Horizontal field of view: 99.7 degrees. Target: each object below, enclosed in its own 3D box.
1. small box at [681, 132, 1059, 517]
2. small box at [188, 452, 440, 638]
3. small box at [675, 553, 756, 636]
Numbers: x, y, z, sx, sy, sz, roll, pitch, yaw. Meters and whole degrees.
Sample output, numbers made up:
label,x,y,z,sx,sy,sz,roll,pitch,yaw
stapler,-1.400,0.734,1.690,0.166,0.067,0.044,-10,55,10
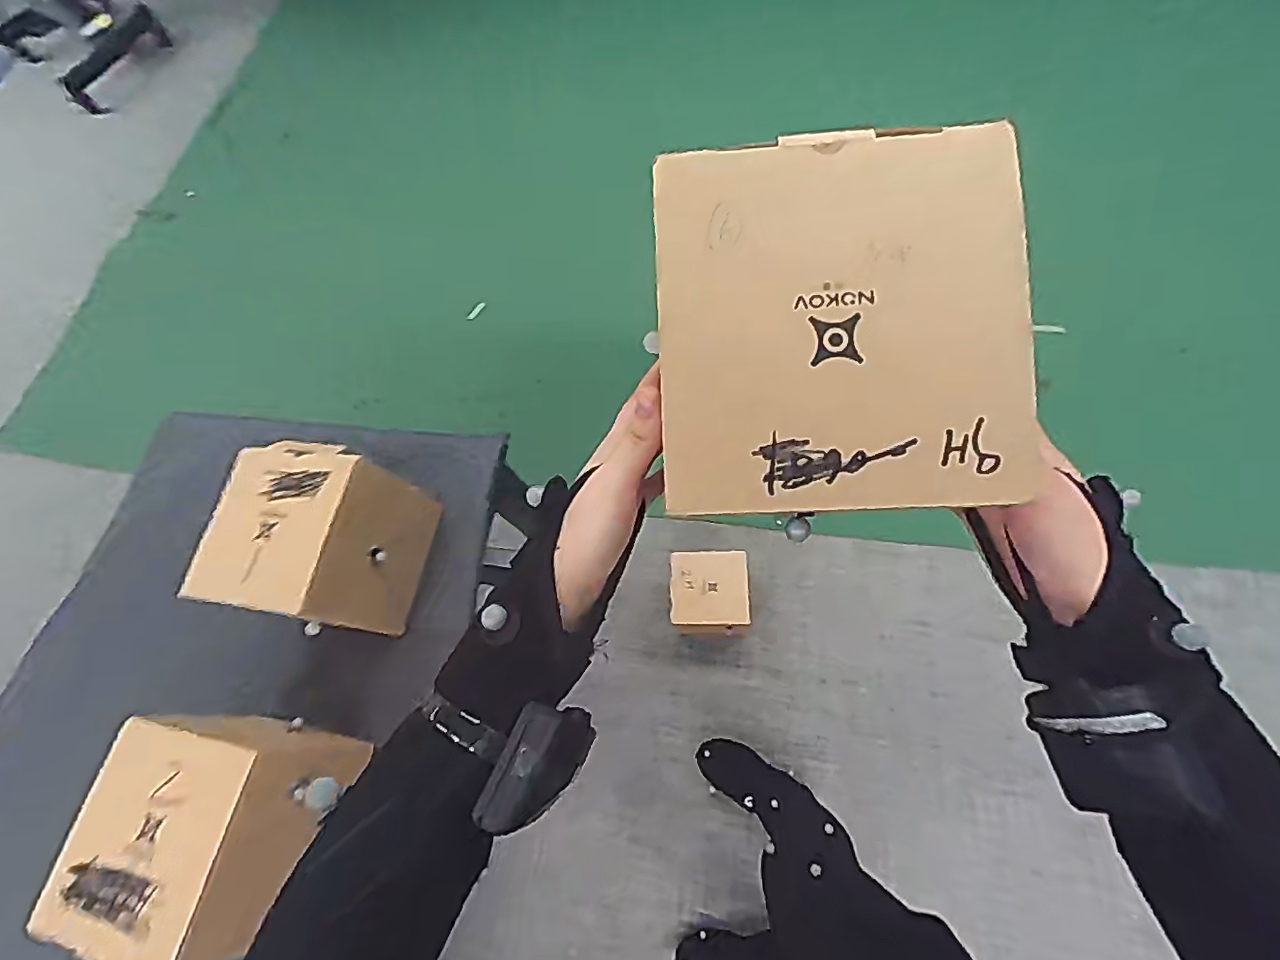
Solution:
label,x,y,z,sx,sy,sz,roll,pitch,yaw
small box,0.108,-0.067,0.328,0.168,0.176,0.179,-2,87,6
small box,-0.371,0.083,0.653,0.168,0.176,0.179,4,69,16
small box,0.177,0.273,1.279,0.179,0.176,0.168,-3,66,9
